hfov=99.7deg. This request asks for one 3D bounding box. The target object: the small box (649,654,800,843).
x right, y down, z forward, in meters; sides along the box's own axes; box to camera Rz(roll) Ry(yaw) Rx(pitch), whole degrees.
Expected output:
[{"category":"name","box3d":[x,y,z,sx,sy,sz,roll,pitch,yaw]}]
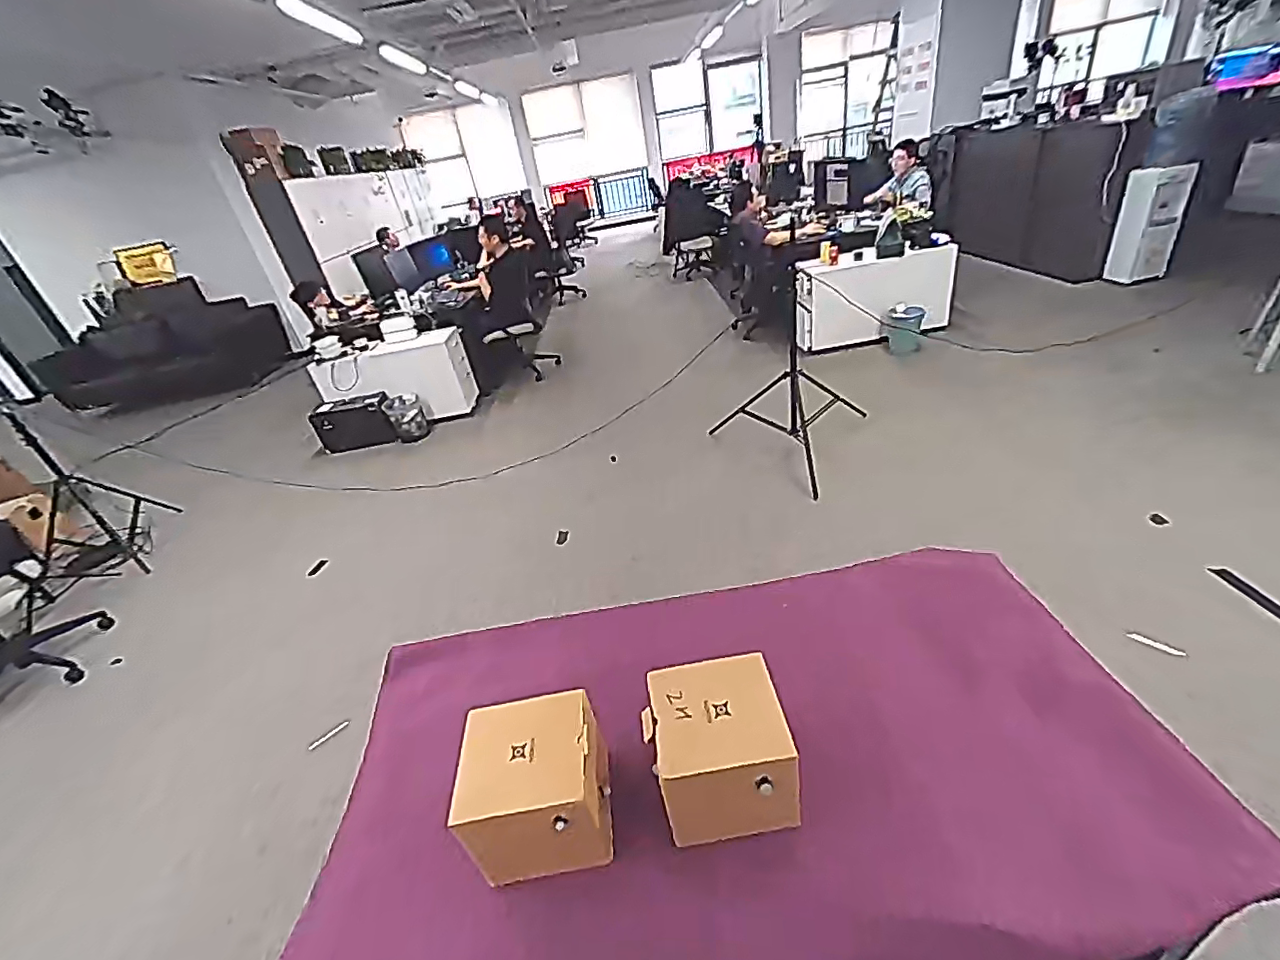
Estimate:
[{"category":"small box","box3d":[0.117,0.380,0.770,0.179,0.176,0.168,-11,30,1]}]

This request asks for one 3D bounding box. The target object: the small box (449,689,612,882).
[{"category":"small box","box3d":[-0.145,0.434,0.770,0.179,0.176,0.168,-11,31,-1]}]
